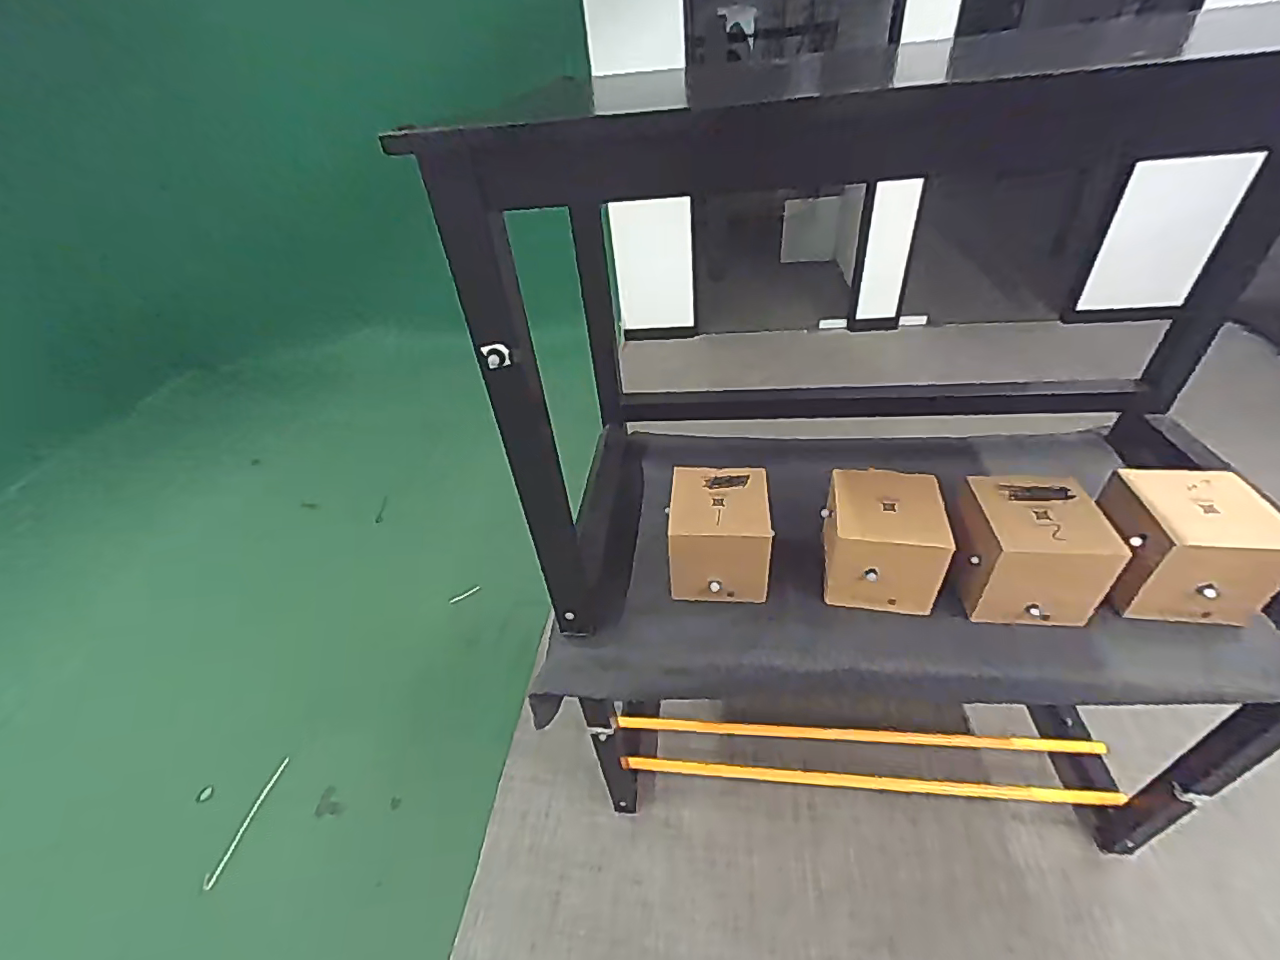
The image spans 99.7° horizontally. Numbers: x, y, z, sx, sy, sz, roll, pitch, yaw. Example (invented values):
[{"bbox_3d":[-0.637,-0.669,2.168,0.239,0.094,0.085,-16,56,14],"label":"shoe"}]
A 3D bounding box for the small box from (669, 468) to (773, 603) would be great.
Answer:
[{"bbox_3d":[0.143,0.096,0.968,0.168,0.176,0.179,0,40,8],"label":"small box"}]

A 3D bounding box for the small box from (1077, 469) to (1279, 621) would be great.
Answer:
[{"bbox_3d":[0.845,0.102,0.853,0.168,0.176,0.179,2,39,11],"label":"small box"}]

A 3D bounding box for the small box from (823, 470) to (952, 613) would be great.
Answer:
[{"bbox_3d":[0.409,0.103,0.923,0.168,0.176,0.179,4,40,13],"label":"small box"}]
